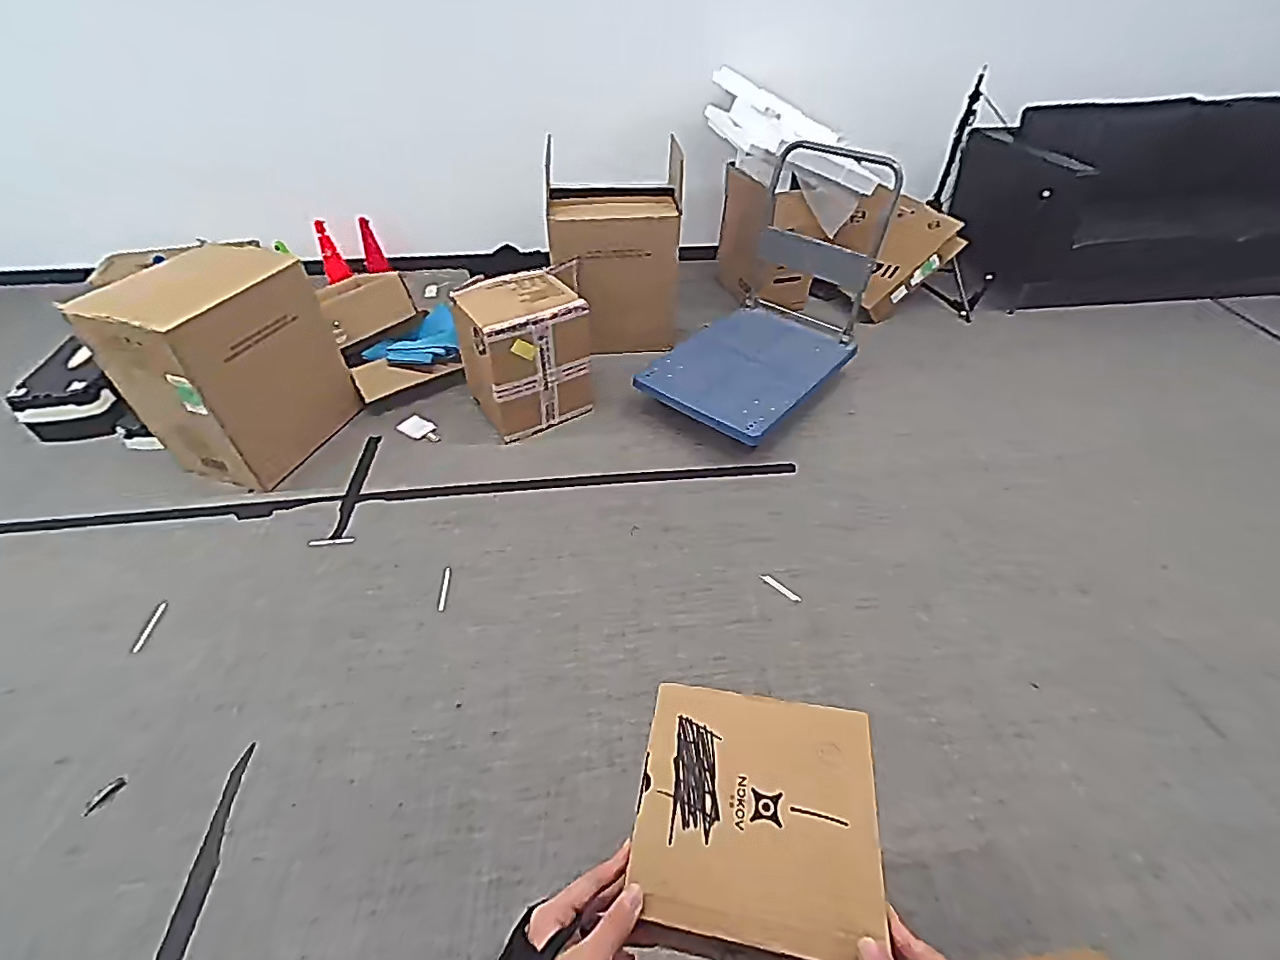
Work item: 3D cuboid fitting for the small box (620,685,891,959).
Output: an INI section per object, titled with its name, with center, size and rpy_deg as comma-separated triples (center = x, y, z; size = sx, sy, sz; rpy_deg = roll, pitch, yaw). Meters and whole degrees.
[small box]
center = 0.095, 0.298, 0.455
size = 0.179, 0.176, 0.168
rpy_deg = 3, 45, 13
